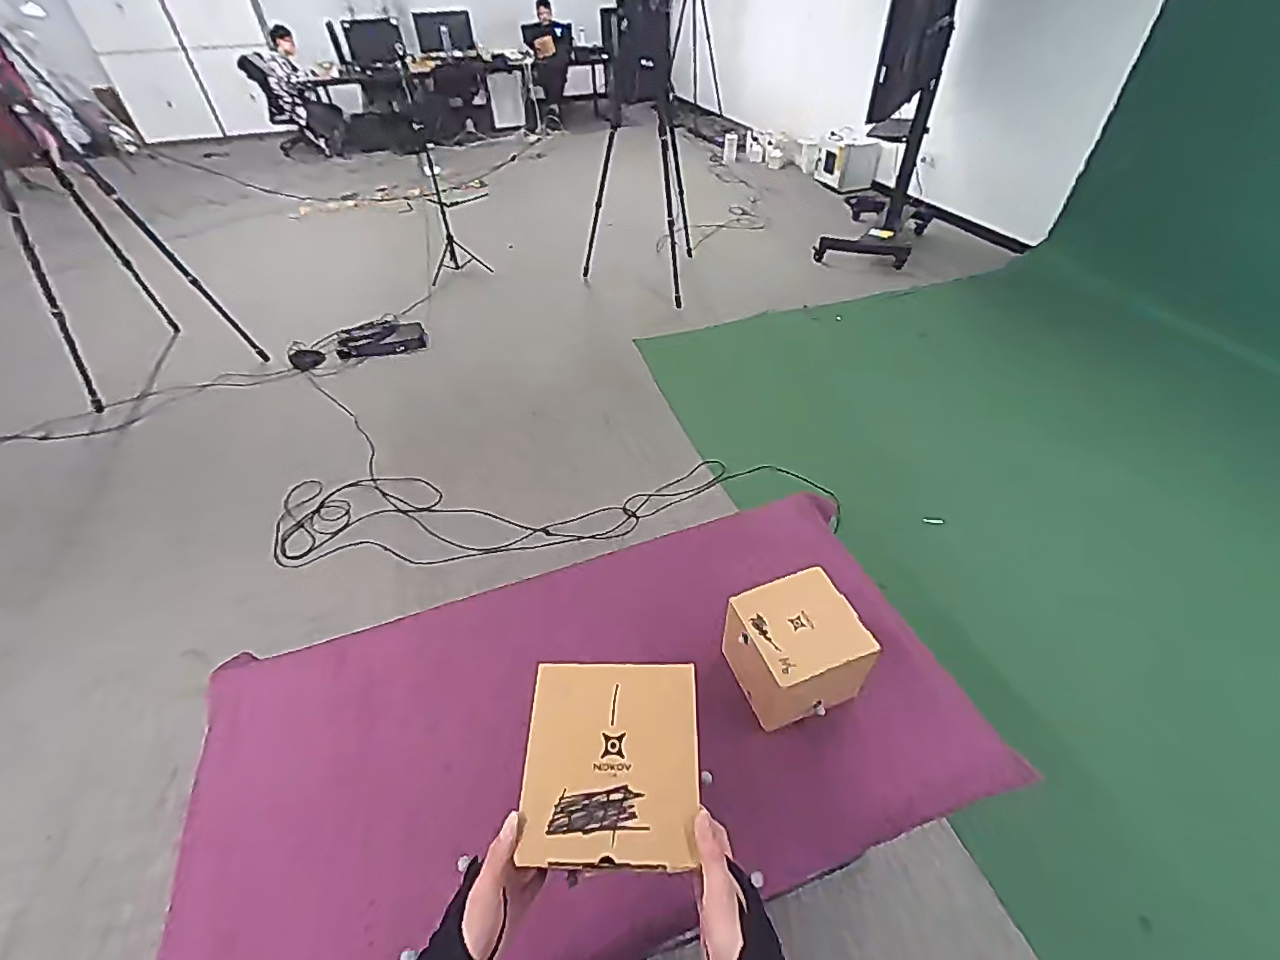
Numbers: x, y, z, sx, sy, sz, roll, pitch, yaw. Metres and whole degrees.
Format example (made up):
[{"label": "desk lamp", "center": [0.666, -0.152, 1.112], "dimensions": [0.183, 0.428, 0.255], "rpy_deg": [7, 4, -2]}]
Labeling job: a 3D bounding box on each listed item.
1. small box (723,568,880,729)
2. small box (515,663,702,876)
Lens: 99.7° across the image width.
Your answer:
[{"label": "small box", "center": [0.253, 0.279, 0.897], "dimensions": [0.179, 0.176, 0.168], "rpy_deg": [-15, 46, -14]}, {"label": "small box", "center": [-0.021, 0.308, 0.570], "dimensions": [0.168, 0.176, 0.179], "rpy_deg": [0, 52, 2]}]
